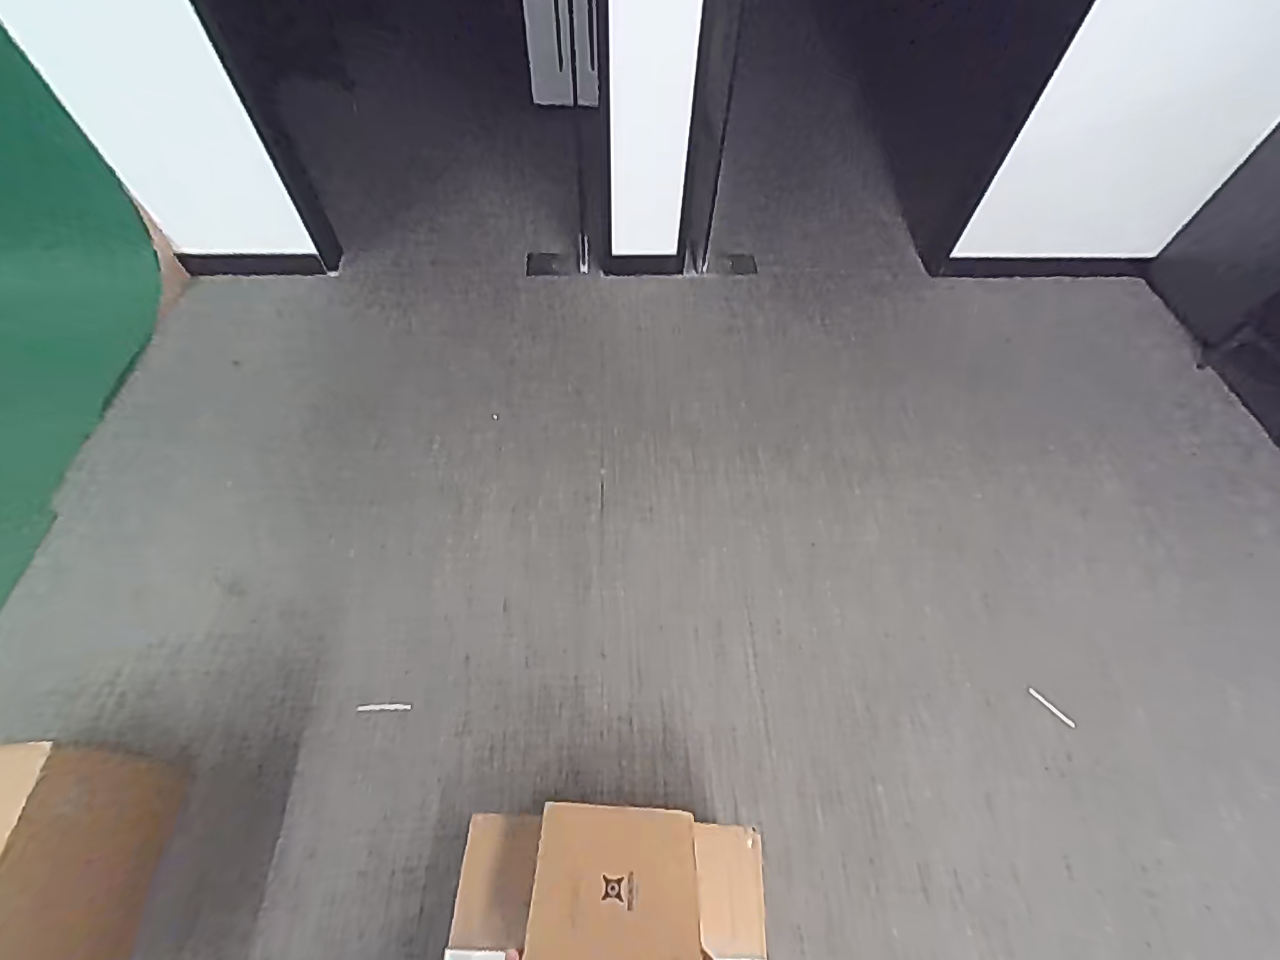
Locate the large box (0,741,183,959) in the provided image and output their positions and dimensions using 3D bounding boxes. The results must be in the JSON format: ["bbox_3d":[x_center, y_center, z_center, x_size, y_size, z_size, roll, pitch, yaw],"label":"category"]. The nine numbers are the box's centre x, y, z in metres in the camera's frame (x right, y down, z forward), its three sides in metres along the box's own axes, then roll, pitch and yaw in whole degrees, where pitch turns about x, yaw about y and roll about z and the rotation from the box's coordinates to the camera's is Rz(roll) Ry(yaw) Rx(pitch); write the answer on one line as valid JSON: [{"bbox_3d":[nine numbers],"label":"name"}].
[{"bbox_3d":[-1.004,0.640,0.797,0.320,0.320,0.408,-2,55,-4],"label":"large box"}]

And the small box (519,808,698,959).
[{"bbox_3d":[-0.038,0.501,0.606,0.179,0.176,0.168,6,32,-2],"label":"small box"}]
